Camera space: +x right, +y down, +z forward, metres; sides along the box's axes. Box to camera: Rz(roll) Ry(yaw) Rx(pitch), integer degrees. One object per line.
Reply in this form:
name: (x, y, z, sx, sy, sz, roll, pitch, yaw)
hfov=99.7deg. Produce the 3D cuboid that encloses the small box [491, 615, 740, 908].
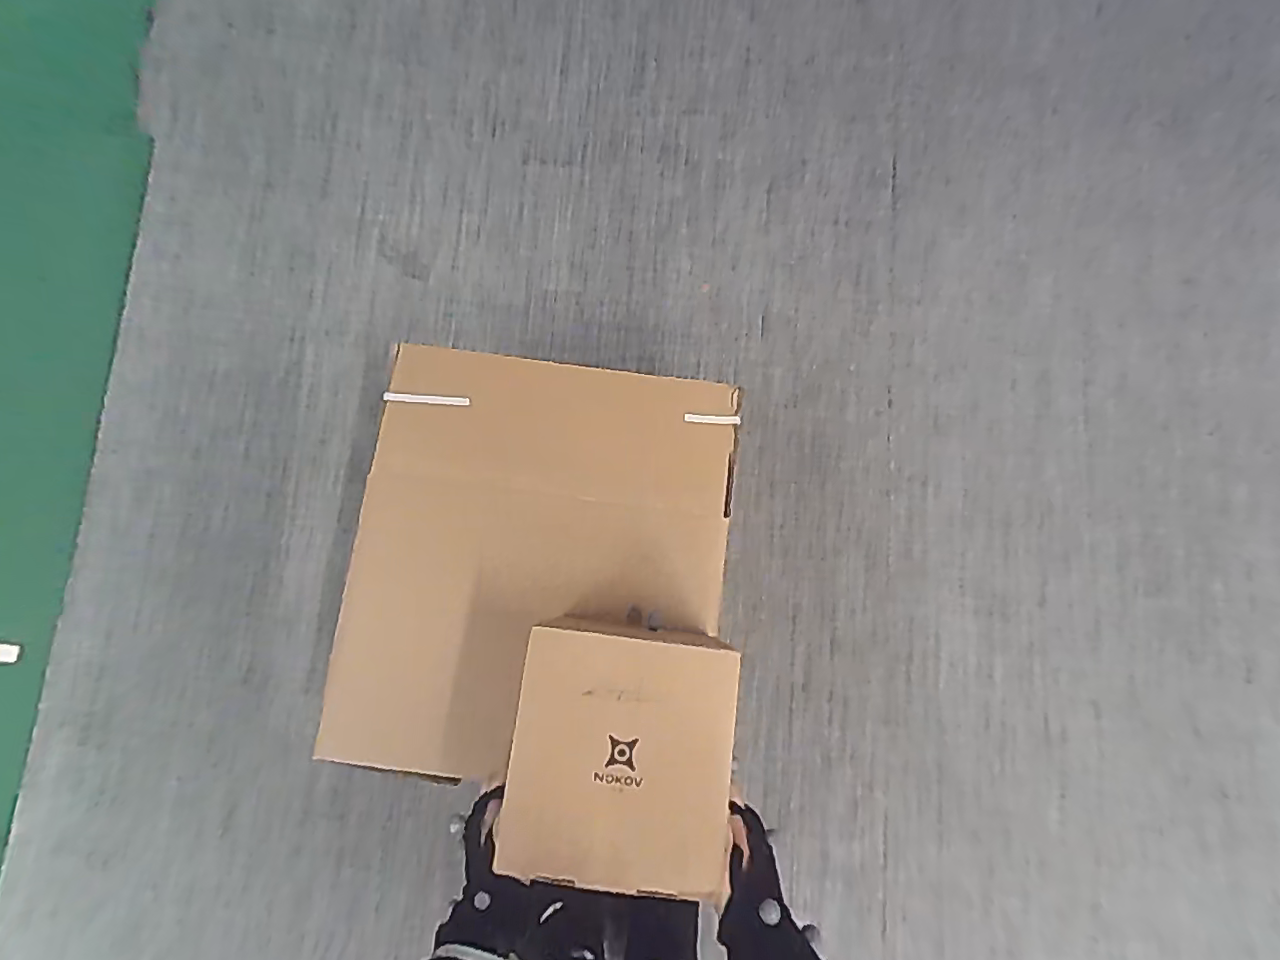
small box: (-0.015, 0.222, 0.477, 0.168, 0.176, 0.179, 8, 79, 1)
